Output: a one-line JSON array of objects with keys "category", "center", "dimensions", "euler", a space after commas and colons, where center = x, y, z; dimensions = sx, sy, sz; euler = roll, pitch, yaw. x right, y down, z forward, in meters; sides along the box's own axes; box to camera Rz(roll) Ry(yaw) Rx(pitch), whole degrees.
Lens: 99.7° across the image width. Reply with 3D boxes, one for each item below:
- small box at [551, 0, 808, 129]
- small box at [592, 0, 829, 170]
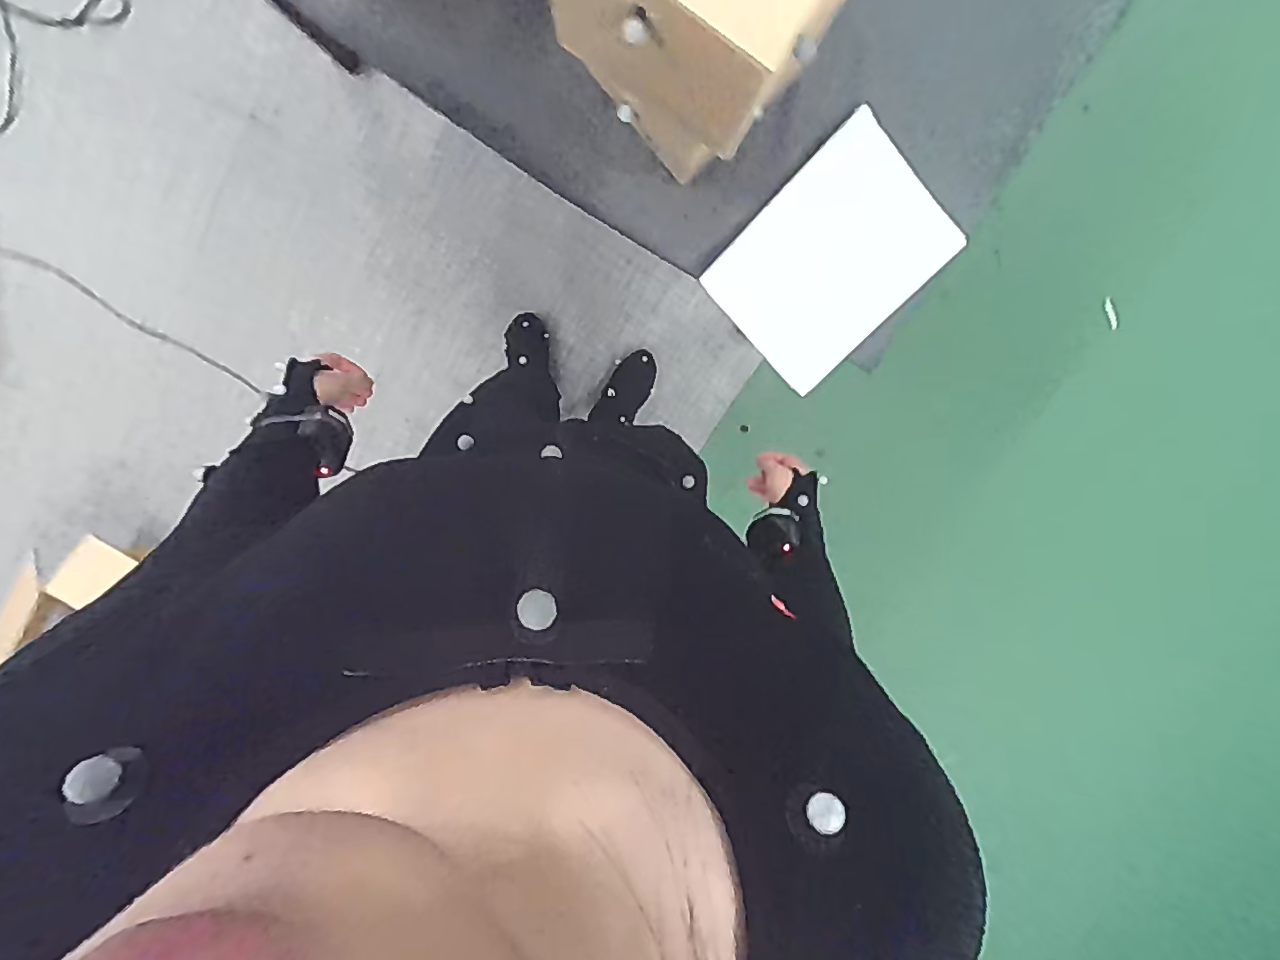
[{"category": "small box", "center": [0.044, -0.389, 0.383], "dimensions": [0.179, 0.176, 0.168], "euler": [30, 102, -8]}, {"category": "small box", "center": [0.055, -0.453, 0.534], "dimensions": [0.179, 0.176, 0.168], "euler": [-41, 101, 10]}]
